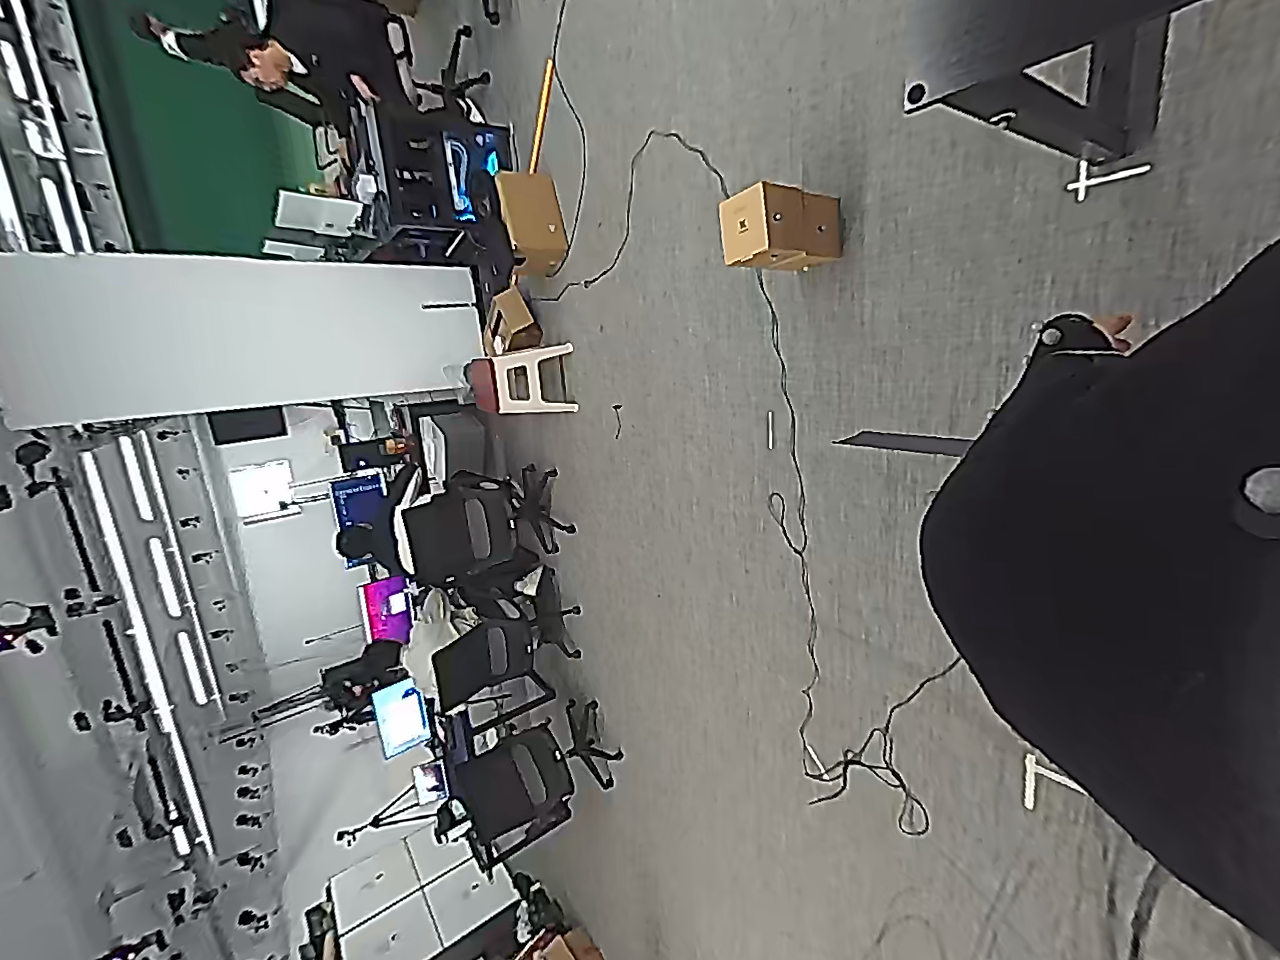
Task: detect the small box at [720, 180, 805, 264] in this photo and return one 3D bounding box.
[{"bbox_3d":[0.351,-0.724,1.538,0.168,0.176,0.179,3,102,54],"label":"small box"}]

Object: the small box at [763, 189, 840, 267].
[{"bbox_3d":[0.483,-0.750,1.629,0.168,0.176,0.179,8,109,54],"label":"small box"}]
